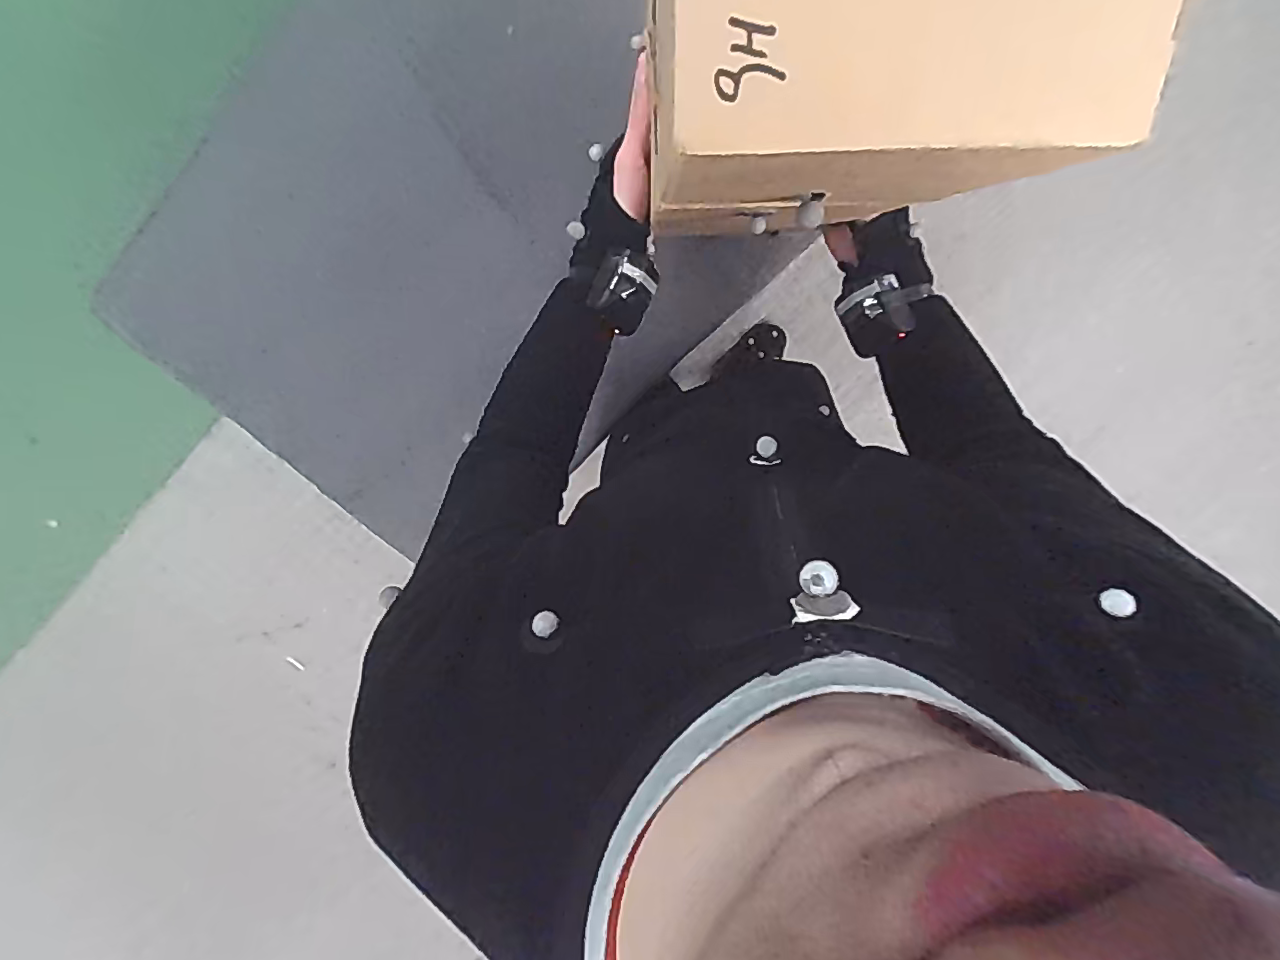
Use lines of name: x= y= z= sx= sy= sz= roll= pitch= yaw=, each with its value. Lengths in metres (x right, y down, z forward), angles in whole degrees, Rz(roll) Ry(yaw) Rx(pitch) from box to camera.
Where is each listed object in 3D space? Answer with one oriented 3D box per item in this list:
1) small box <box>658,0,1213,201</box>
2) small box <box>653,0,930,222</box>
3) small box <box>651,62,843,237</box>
small box: x=0.101 y=-0.224 z=0.235 sx=0.179 sy=0.176 sz=0.168 roll=0 pitch=111 yaw=0
small box: x=0.098 y=-0.282 z=0.387 sx=0.179 sy=0.176 sz=0.168 roll=-1 pitch=112 yaw=-1
small box: x=0.100 y=-0.340 z=0.541 sx=0.179 sy=0.176 sz=0.168 roll=0 pitch=110 yaw=1
